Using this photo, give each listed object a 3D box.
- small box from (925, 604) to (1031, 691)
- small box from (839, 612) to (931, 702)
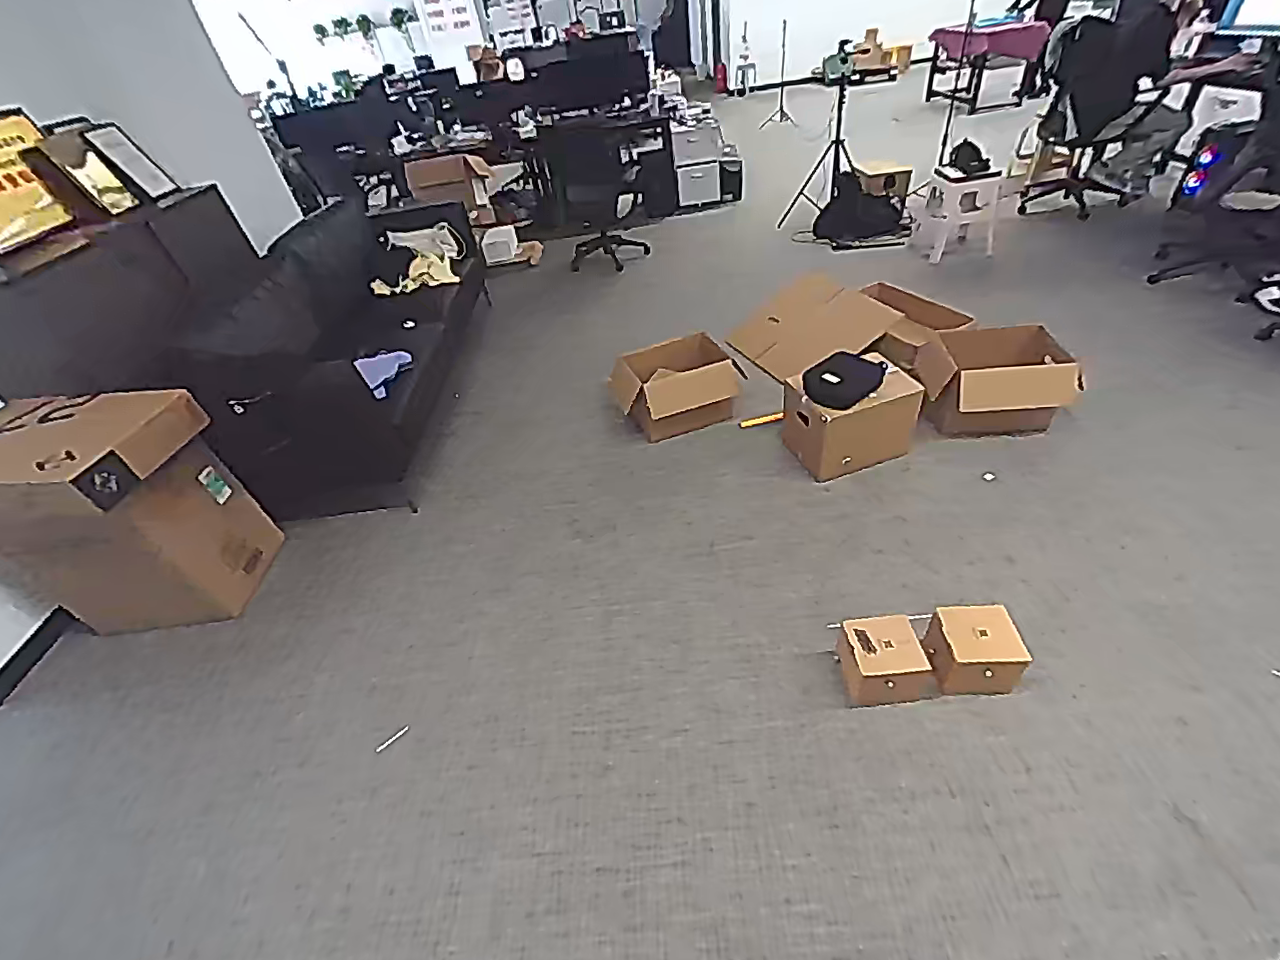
[{"bbox_3d":[0.893,0.449,1.446,0.179,0.176,0.168,-5,42,9],"label":"small box"},{"bbox_3d":[0.650,0.482,1.461,0.179,0.176,0.168,-7,42,4],"label":"small box"}]
